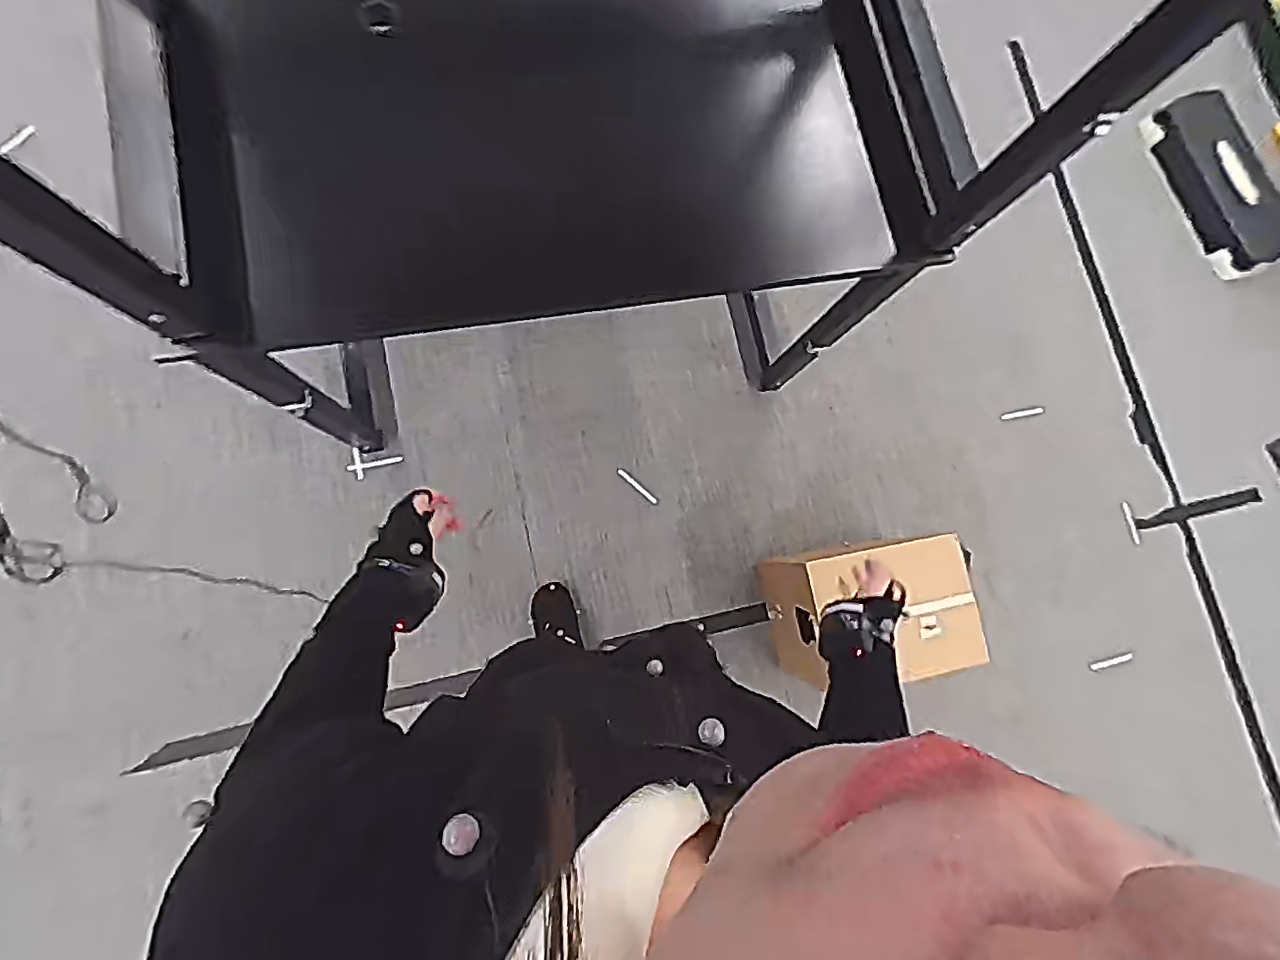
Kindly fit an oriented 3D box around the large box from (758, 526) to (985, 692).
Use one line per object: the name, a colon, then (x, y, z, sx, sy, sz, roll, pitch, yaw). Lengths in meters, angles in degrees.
large box: (0.573, 0.316, 1.402, 0.408, 0.320, 0.320, -9, 84, -10)
